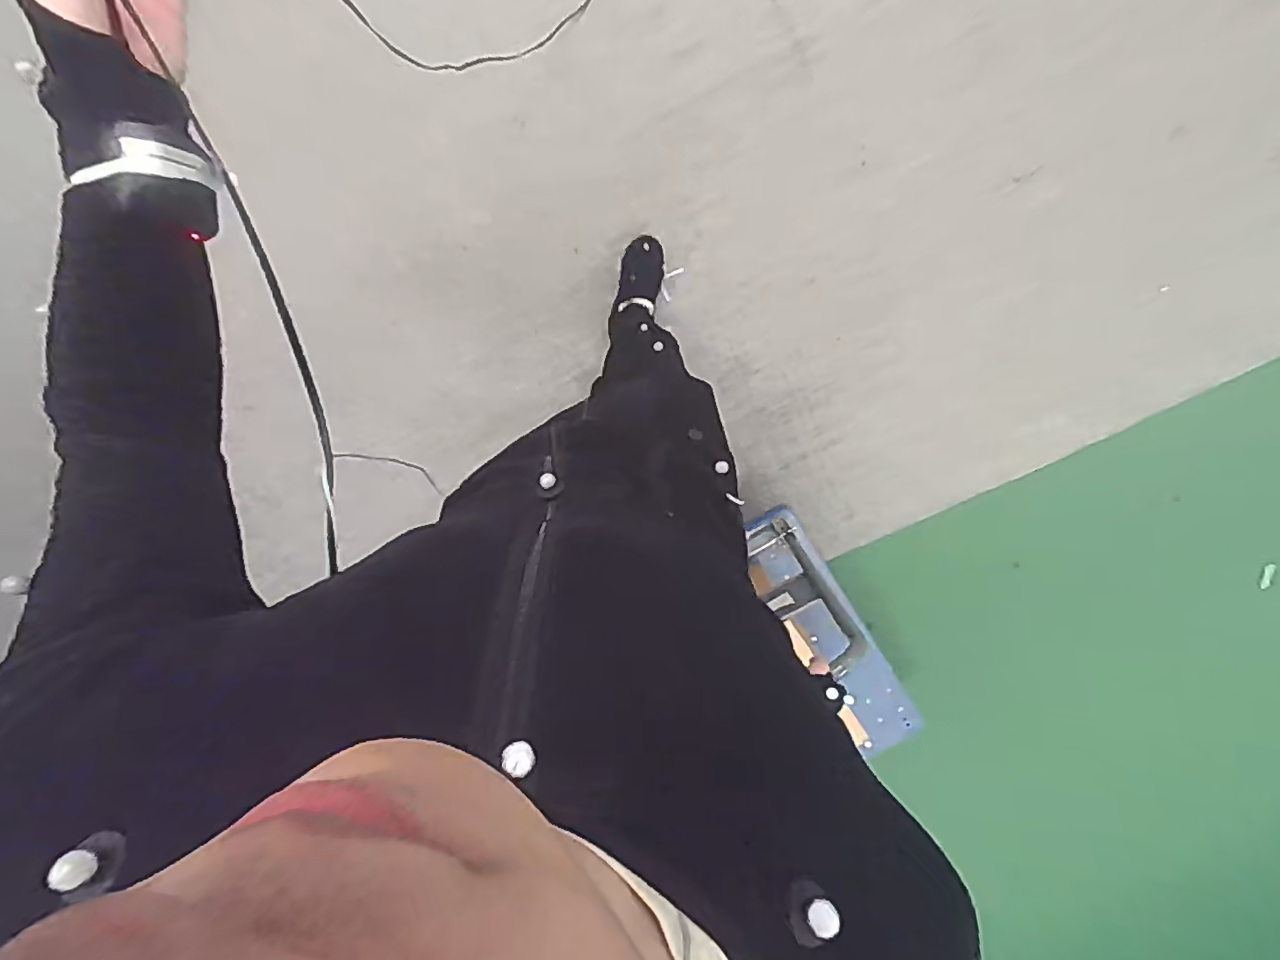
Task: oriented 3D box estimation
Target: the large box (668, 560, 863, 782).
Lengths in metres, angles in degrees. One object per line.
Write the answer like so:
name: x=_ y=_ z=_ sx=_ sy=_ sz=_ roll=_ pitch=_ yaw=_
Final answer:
large box: x=0.314 y=0.497 z=1.456 sx=0.320 sy=0.320 sz=0.408 roll=-33 pitch=104 yaw=10
